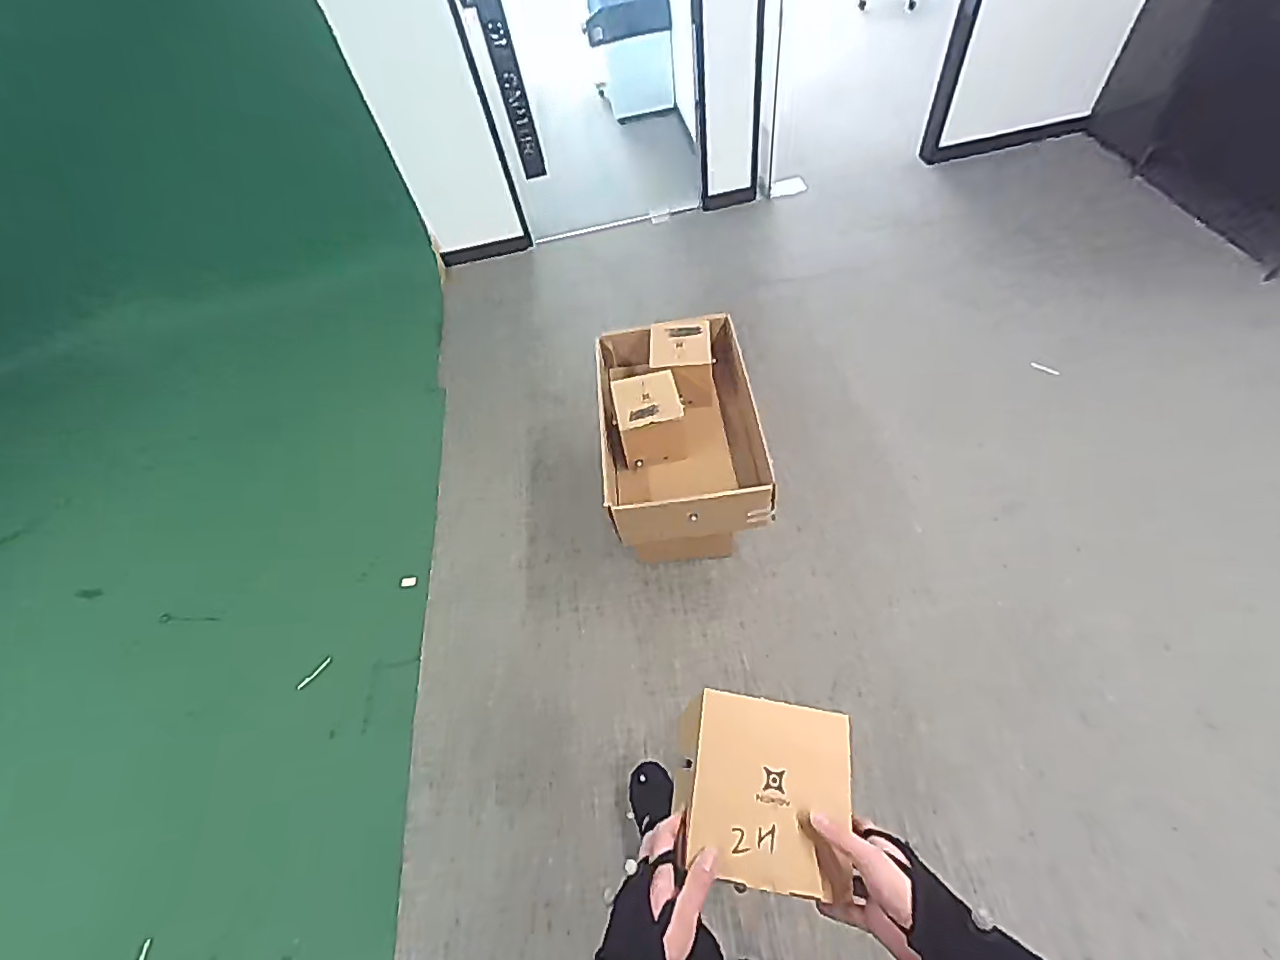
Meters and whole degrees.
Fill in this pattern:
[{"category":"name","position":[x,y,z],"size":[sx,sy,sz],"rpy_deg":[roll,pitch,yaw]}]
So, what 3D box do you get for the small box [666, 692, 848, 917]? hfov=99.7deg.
[{"category":"small box","position":[0.127,0.364,0.625],"size":[0.168,0.176,0.179],"rpy_deg":[10,61,3]}]
